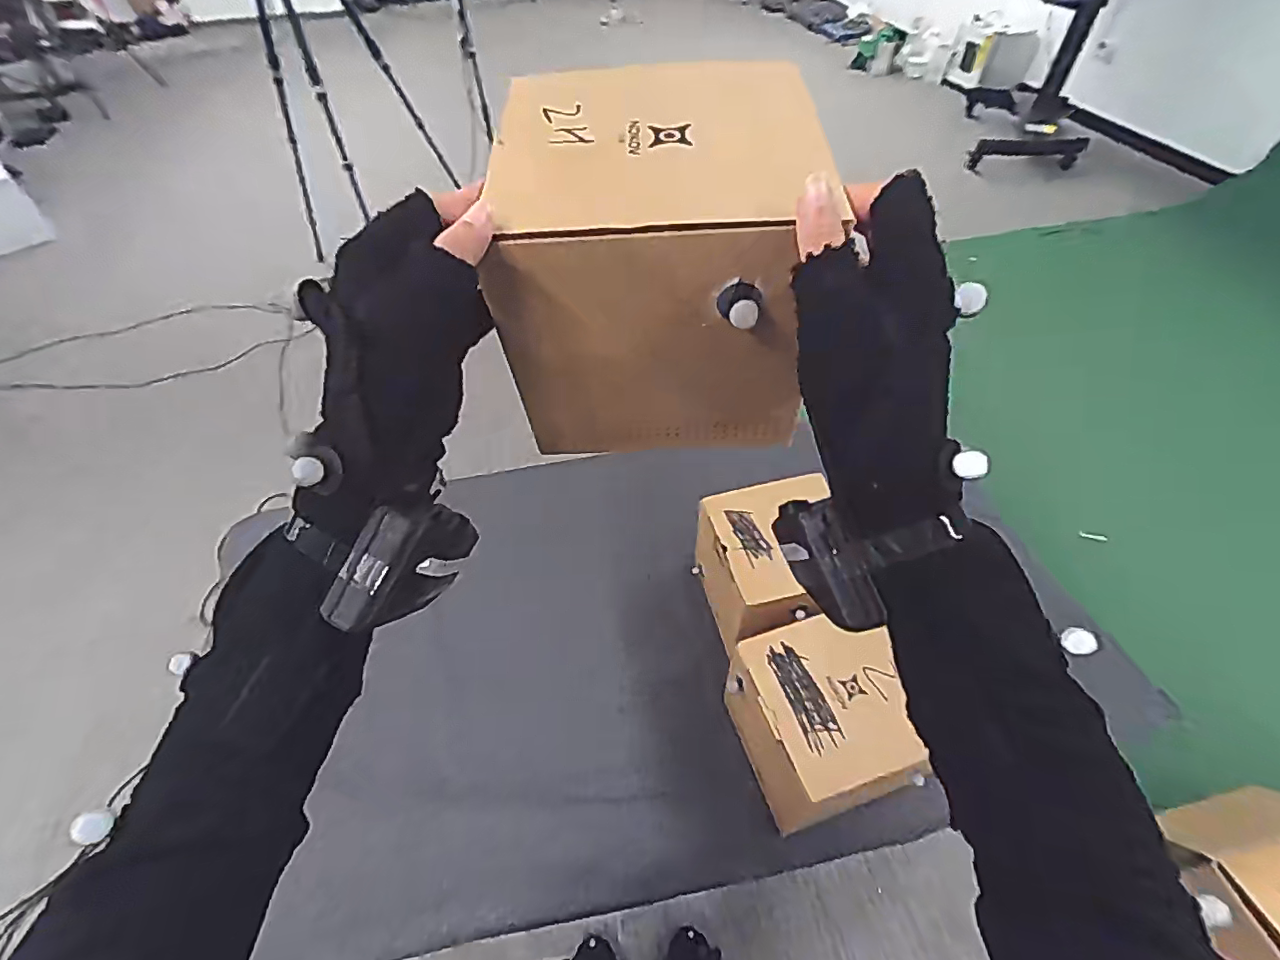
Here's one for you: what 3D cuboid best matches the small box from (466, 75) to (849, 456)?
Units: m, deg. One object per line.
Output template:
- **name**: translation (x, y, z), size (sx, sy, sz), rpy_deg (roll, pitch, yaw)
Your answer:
- **small box**: translation (0.012, -0.127, 0.351), size (0.179, 0.176, 0.168), rpy_deg (-1, 56, 3)
